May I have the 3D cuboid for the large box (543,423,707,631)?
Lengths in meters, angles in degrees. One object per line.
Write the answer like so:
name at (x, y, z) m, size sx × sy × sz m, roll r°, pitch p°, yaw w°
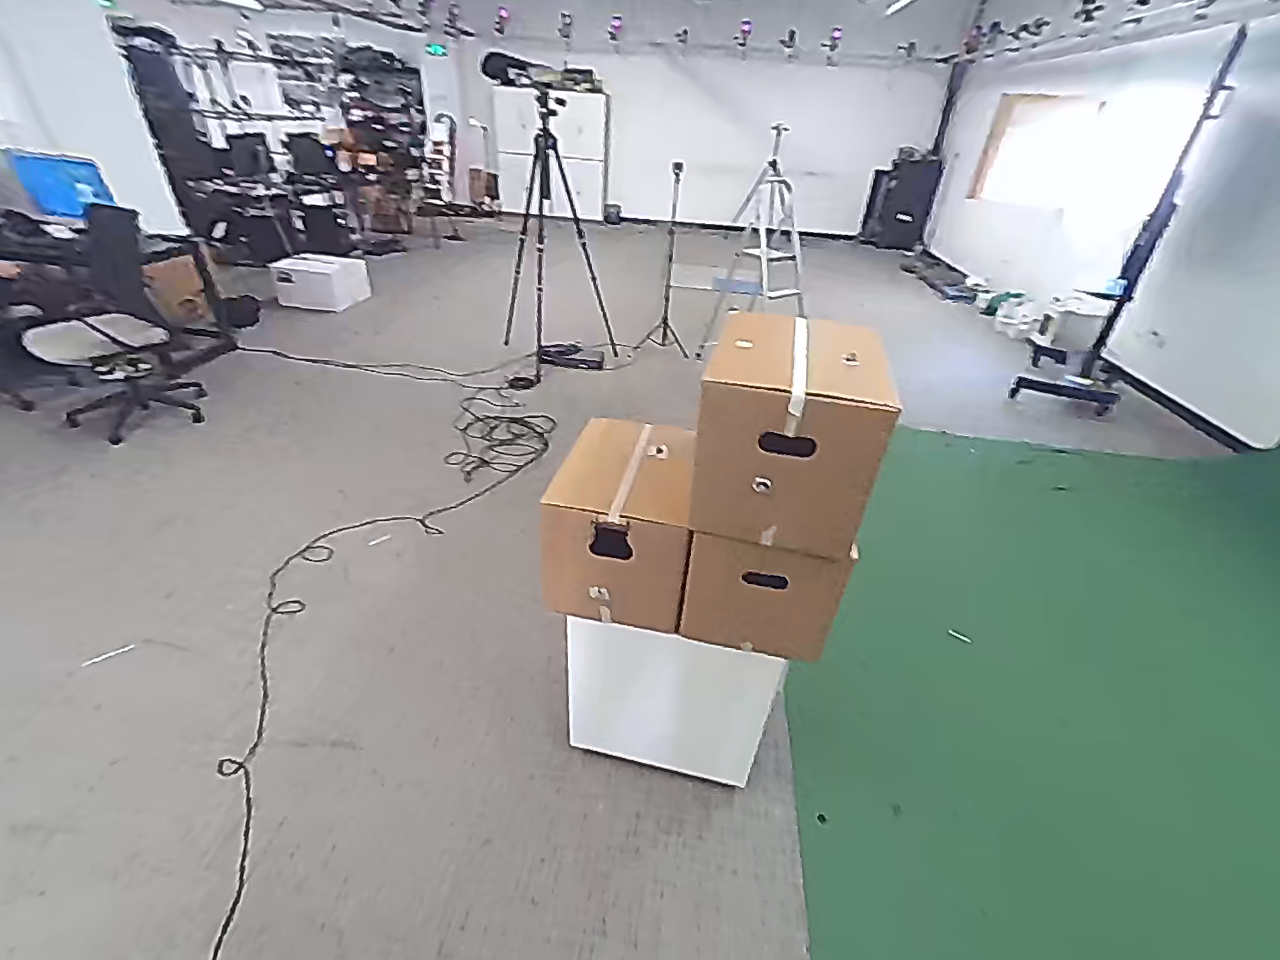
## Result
large box at (-0.021, 0.099, 1.315) m, size 0.320 × 0.320 × 0.408 m, roll 9°, pitch 33°, yaw 8°
